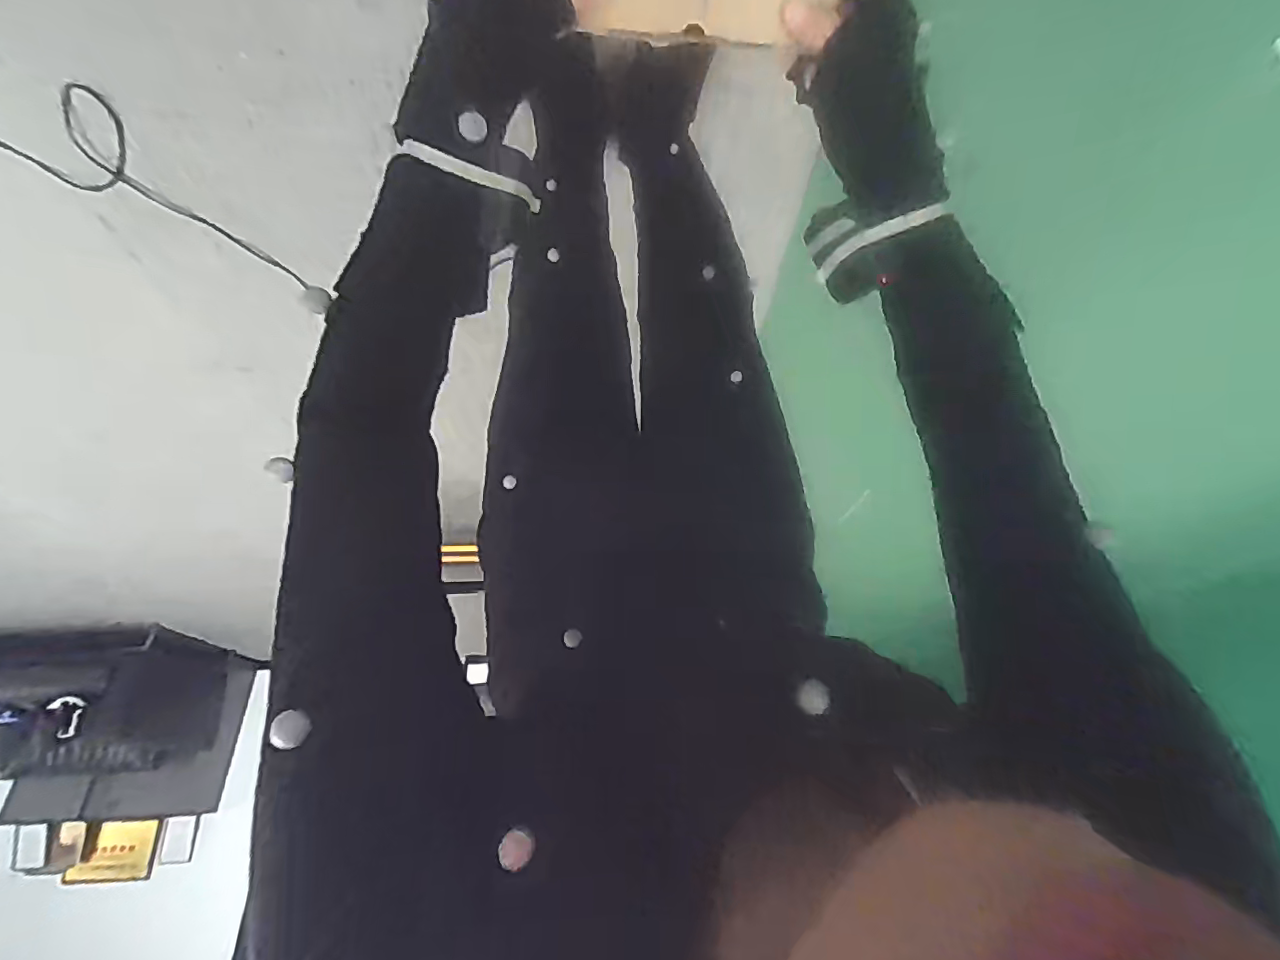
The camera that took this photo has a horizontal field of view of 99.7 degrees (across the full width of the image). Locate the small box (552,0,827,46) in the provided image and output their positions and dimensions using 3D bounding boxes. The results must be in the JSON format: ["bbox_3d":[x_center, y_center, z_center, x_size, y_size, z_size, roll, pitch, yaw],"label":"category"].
[{"bbox_3d":[0.034,-0.390,0.324,0.168,0.176,0.179,2,134,-5],"label":"small box"}]
